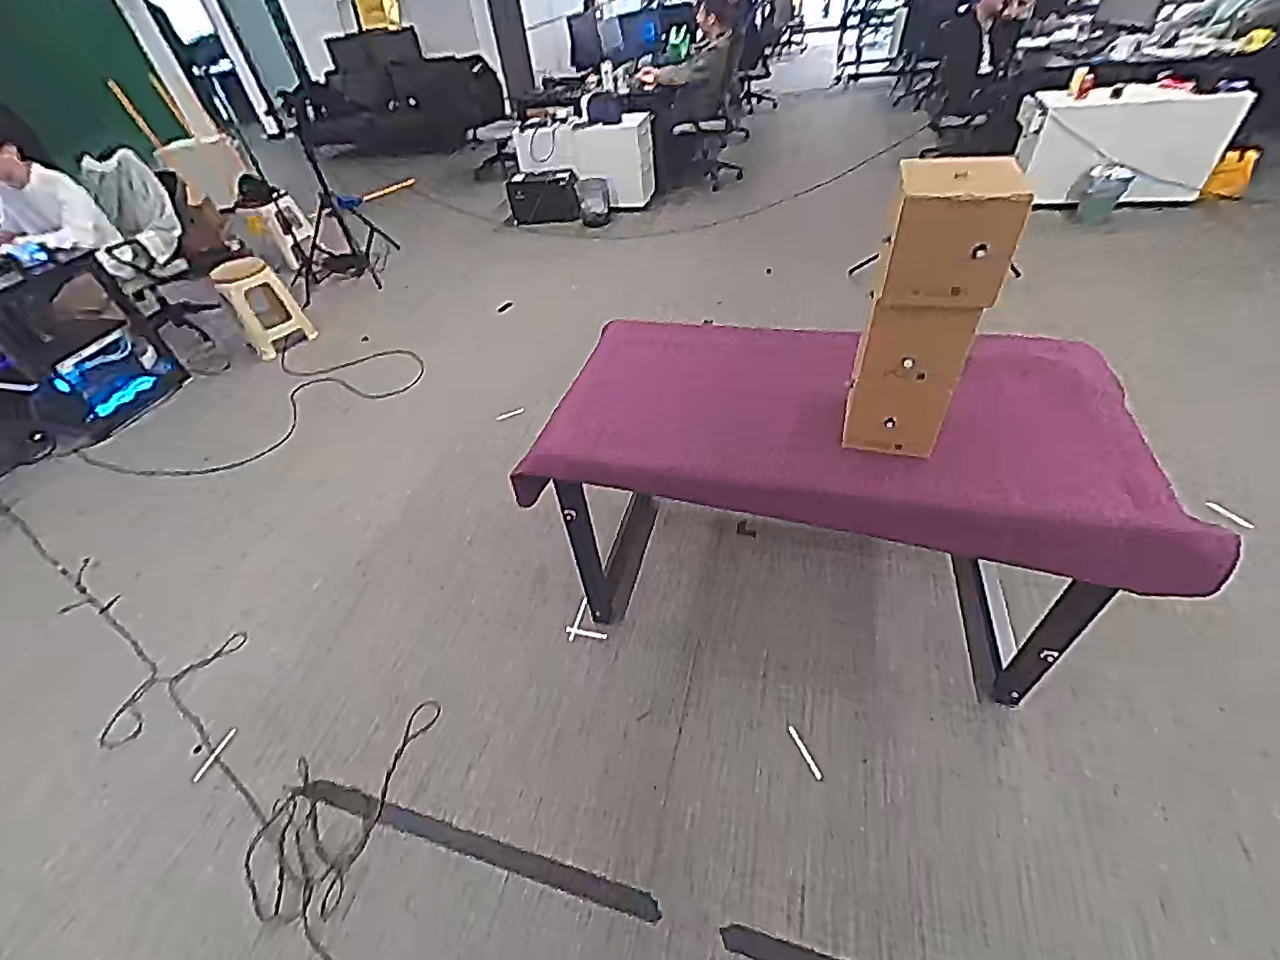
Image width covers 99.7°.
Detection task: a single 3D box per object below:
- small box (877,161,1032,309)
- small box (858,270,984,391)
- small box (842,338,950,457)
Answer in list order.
[{"bbox_3d":[0.484,-0.388,0.861,0.168,0.176,0.179,7,45,14],"label":"small box"},{"bbox_3d":[0.503,-0.287,0.989,0.168,0.176,0.179,9,47,17],"label":"small box"},{"bbox_3d":[0.514,-0.167,1.101,0.168,0.176,0.179,10,46,17],"label":"small box"}]
